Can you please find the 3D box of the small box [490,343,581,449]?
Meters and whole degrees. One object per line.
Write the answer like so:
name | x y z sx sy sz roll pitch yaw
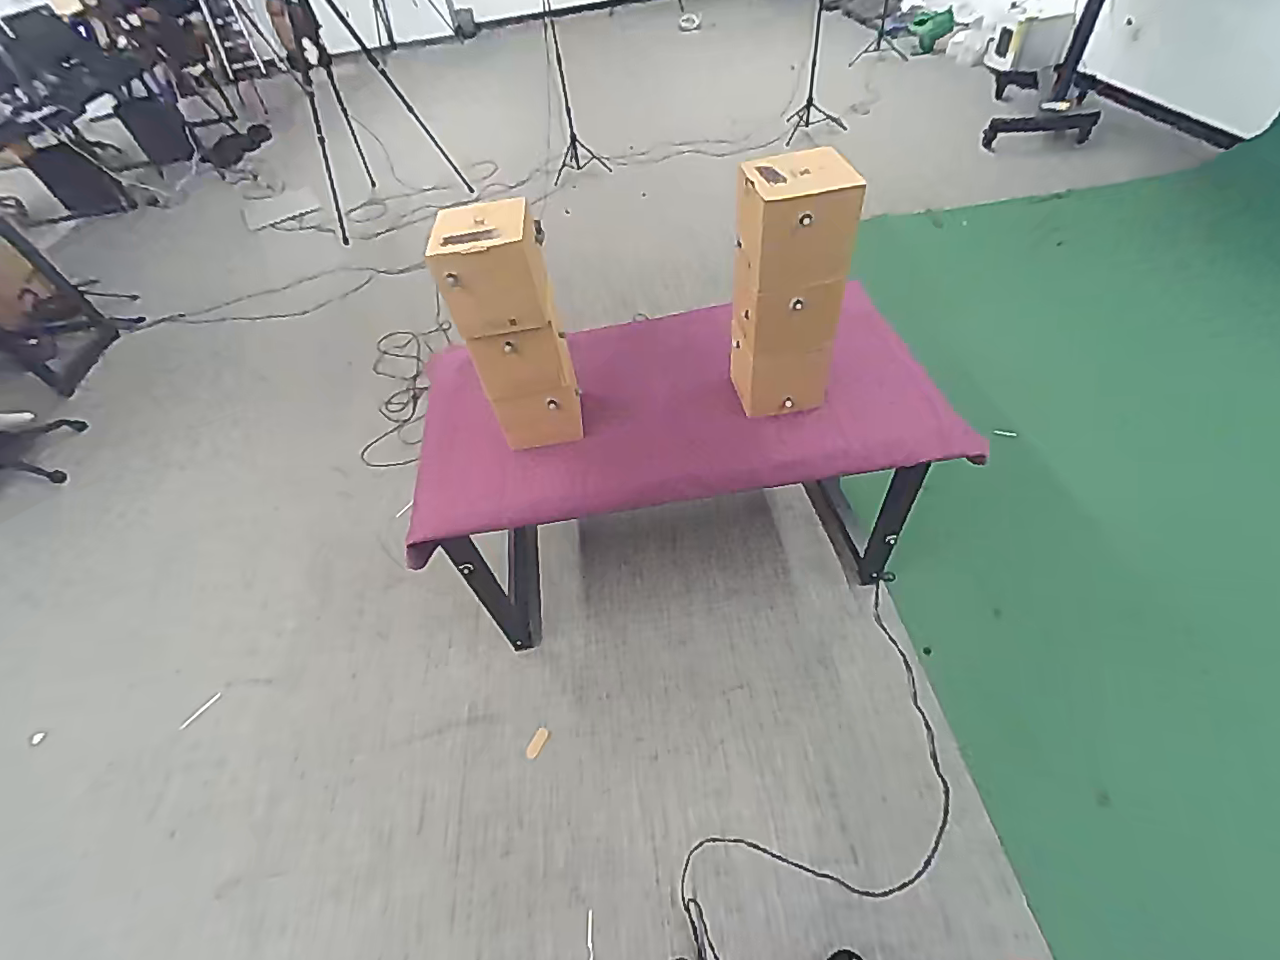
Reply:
small box | -0.234 -0.193 1.259 0.179 0.176 0.168 -9 50 0

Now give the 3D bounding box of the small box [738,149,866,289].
small box | 0.284 -0.473 0.991 0.179 0.176 0.168 -10 51 0

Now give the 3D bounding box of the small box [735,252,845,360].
small box | 0.299 -0.368 1.116 0.179 0.176 0.168 -9 51 0

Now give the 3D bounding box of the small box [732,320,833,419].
small box | 0.316 -0.263 1.240 0.179 0.176 0.168 -10 50 -1

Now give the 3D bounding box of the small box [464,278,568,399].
small box | -0.250 -0.293 1.133 0.179 0.176 0.168 -10 51 0
